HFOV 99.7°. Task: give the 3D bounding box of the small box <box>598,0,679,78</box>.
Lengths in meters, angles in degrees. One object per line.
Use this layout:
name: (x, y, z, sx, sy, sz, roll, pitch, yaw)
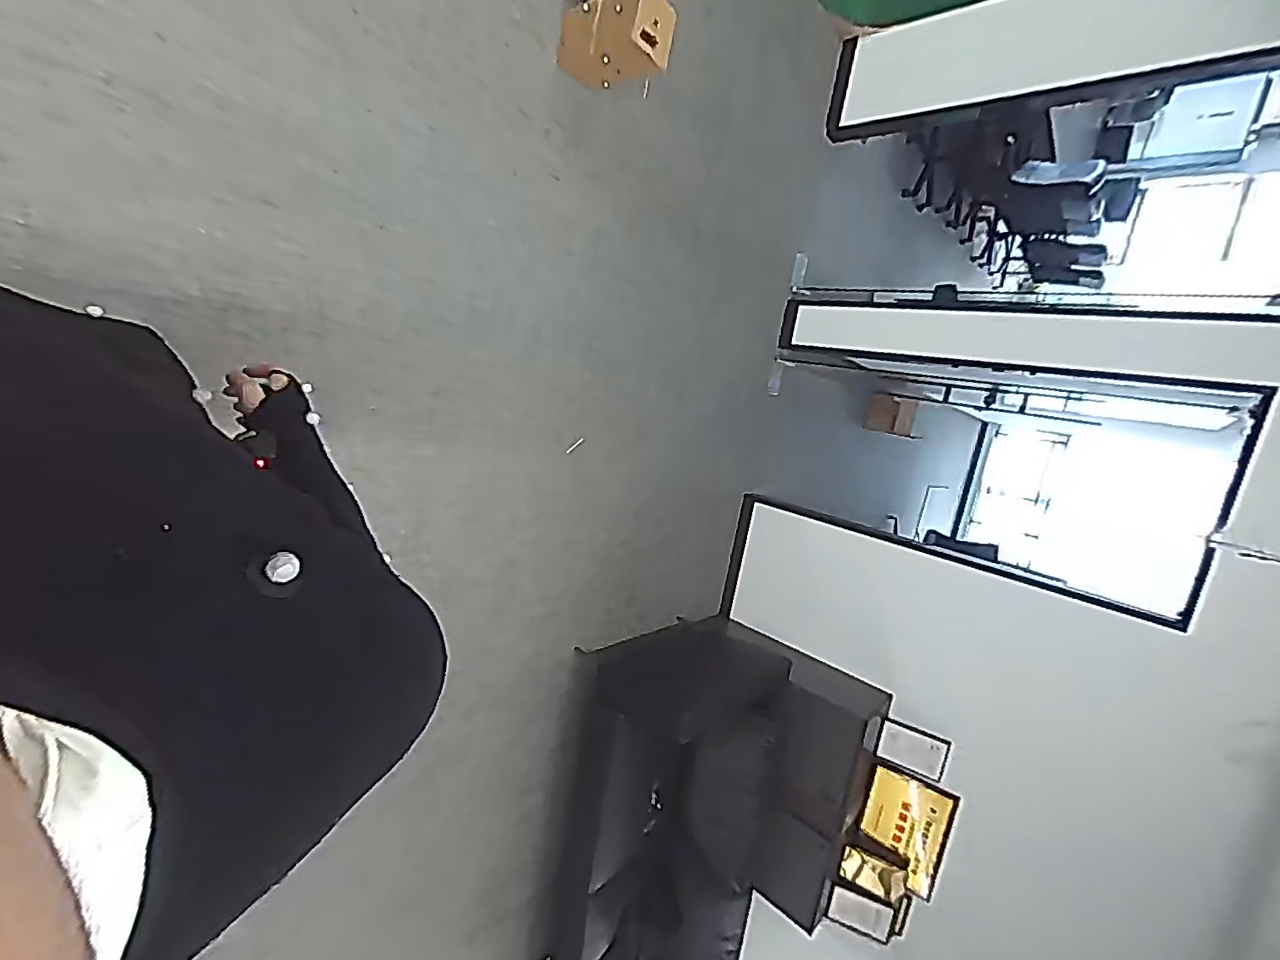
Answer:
small box: (-0.009, -1.390, 1.667, 0.168, 0.176, 0.179, 5, 100, -51)
